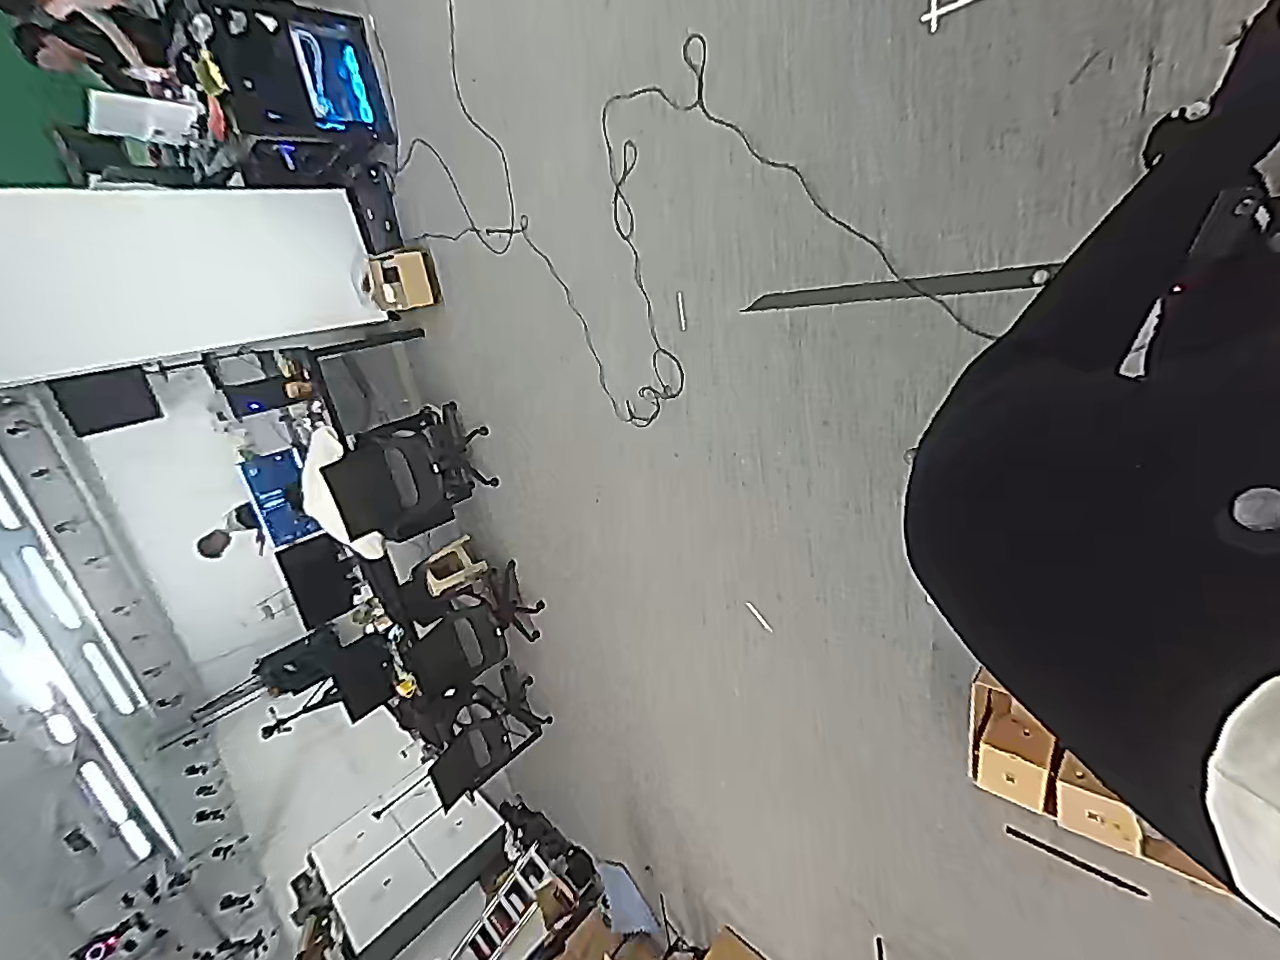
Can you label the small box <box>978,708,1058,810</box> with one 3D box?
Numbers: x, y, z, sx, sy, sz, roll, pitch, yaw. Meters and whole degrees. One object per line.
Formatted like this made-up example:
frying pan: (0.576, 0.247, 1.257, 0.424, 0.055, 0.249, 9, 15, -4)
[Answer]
small box: (1.137, 0.831, 1.625, 0.168, 0.176, 0.179, 10, 115, 43)
